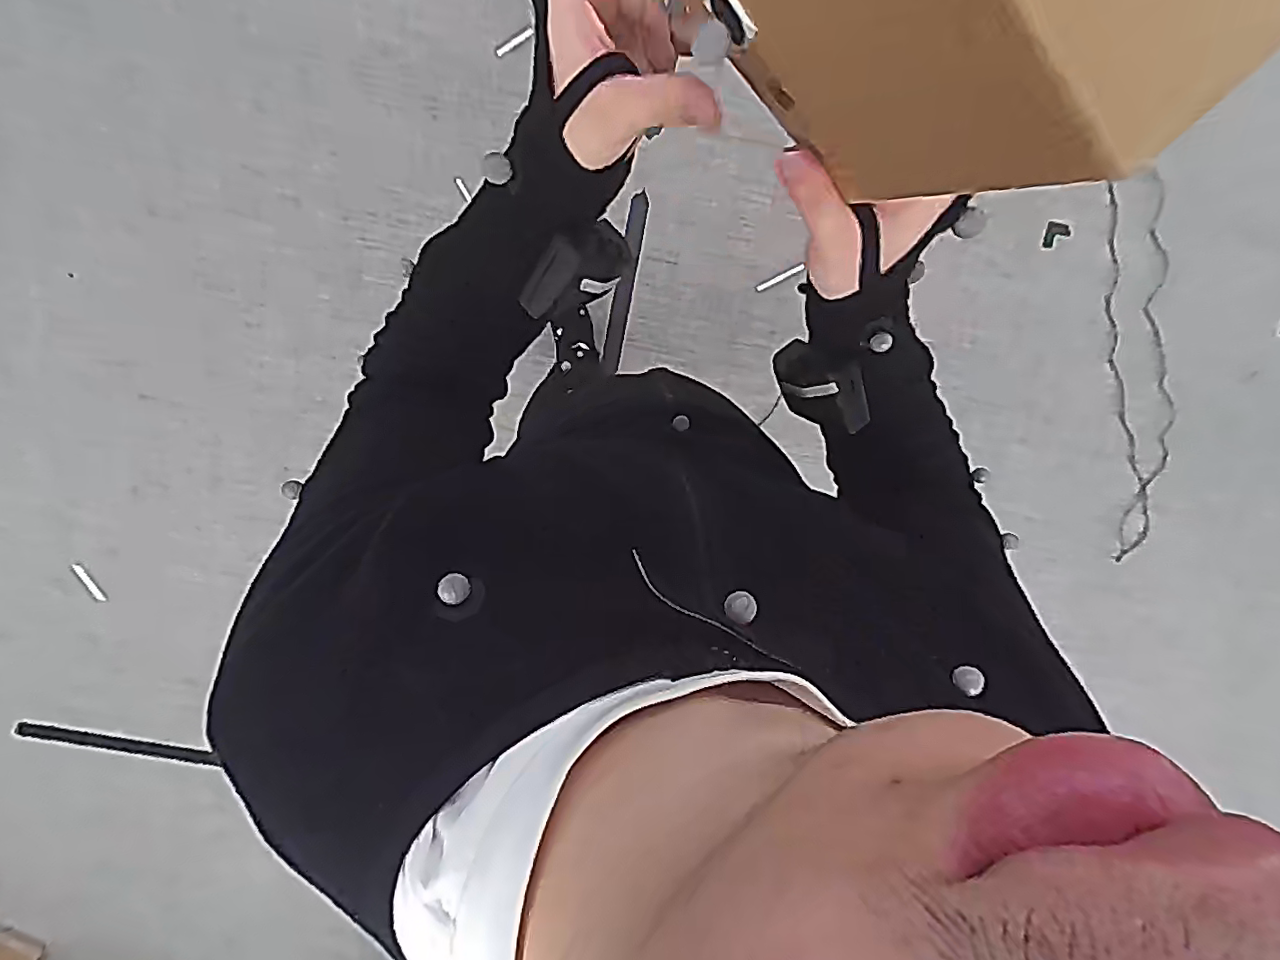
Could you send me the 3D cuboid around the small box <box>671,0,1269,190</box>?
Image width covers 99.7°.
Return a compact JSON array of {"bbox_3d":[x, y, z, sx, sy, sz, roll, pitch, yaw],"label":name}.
[{"bbox_3d":[0.104,-0.219,0.158,0.168,0.176,0.179,38,108,-17],"label":"small box"}]
